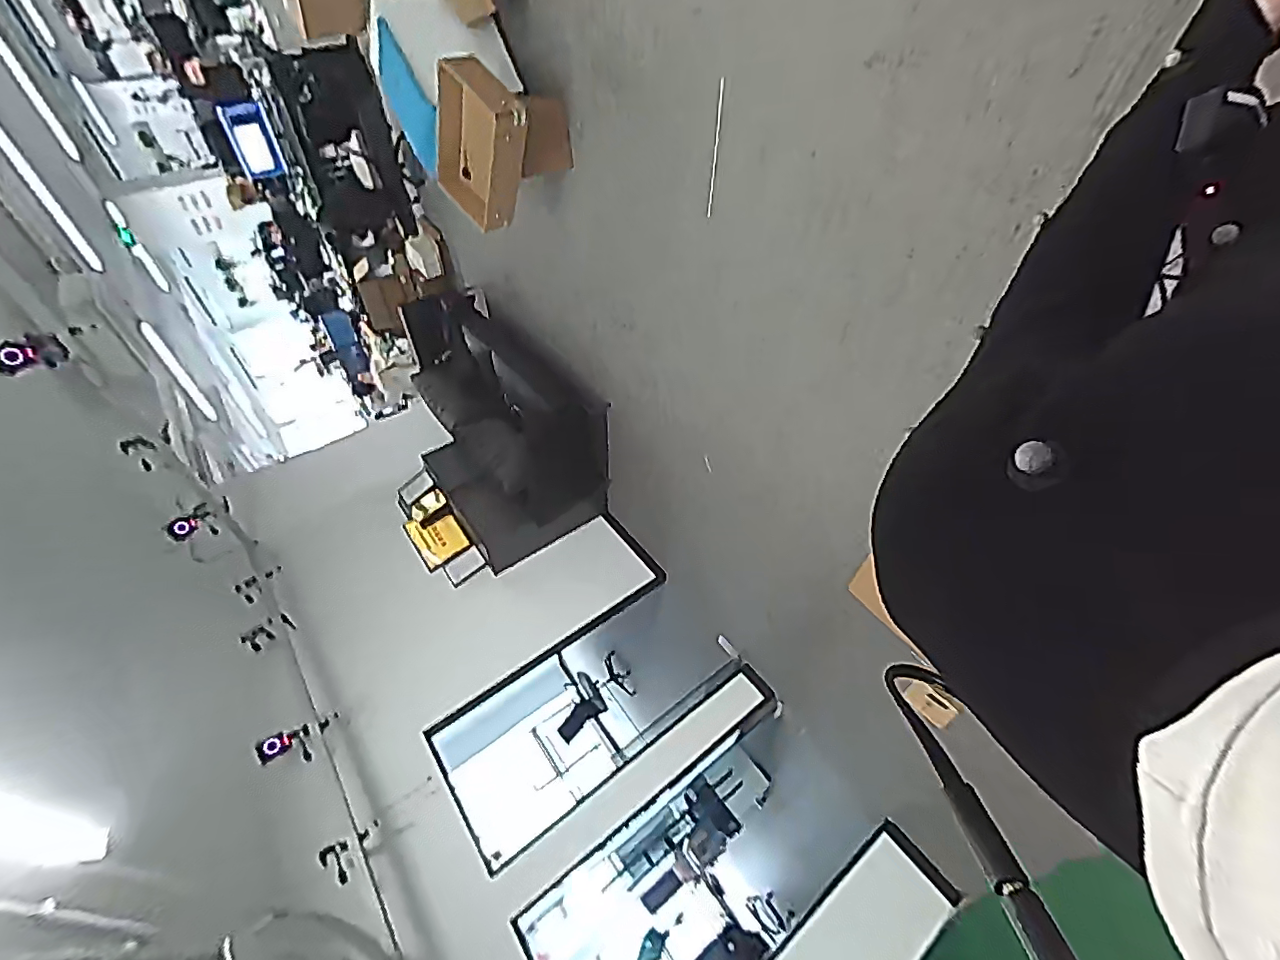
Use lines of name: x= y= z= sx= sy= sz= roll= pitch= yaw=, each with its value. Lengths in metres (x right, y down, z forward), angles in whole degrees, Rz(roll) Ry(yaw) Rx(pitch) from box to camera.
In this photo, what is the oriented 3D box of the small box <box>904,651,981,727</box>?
small box: x=1.120 y=0.767 z=1.997 sx=0.168 sy=0.176 sz=0.179 roll=43 pitch=151 yaw=34
